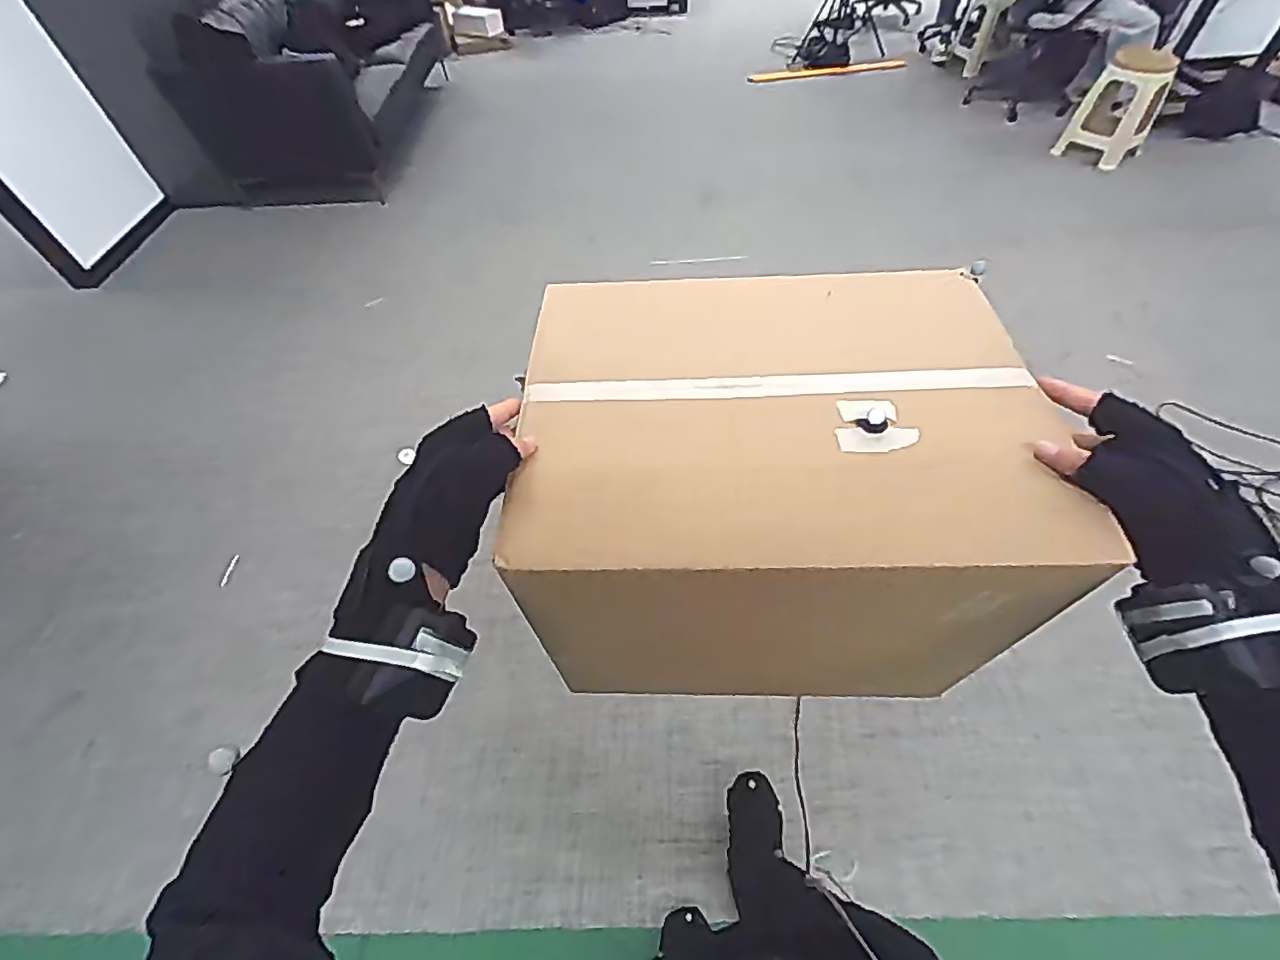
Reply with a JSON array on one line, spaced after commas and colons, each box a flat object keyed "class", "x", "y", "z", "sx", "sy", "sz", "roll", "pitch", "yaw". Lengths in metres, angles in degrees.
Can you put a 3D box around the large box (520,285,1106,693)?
[{"class": "large box", "x": 0.118, "y": 0.022, "z": 0.570, "sx": 0.408, "sy": 0.320, "sz": 0.320, "roll": -1, "pitch": 54, "yaw": 2}]
